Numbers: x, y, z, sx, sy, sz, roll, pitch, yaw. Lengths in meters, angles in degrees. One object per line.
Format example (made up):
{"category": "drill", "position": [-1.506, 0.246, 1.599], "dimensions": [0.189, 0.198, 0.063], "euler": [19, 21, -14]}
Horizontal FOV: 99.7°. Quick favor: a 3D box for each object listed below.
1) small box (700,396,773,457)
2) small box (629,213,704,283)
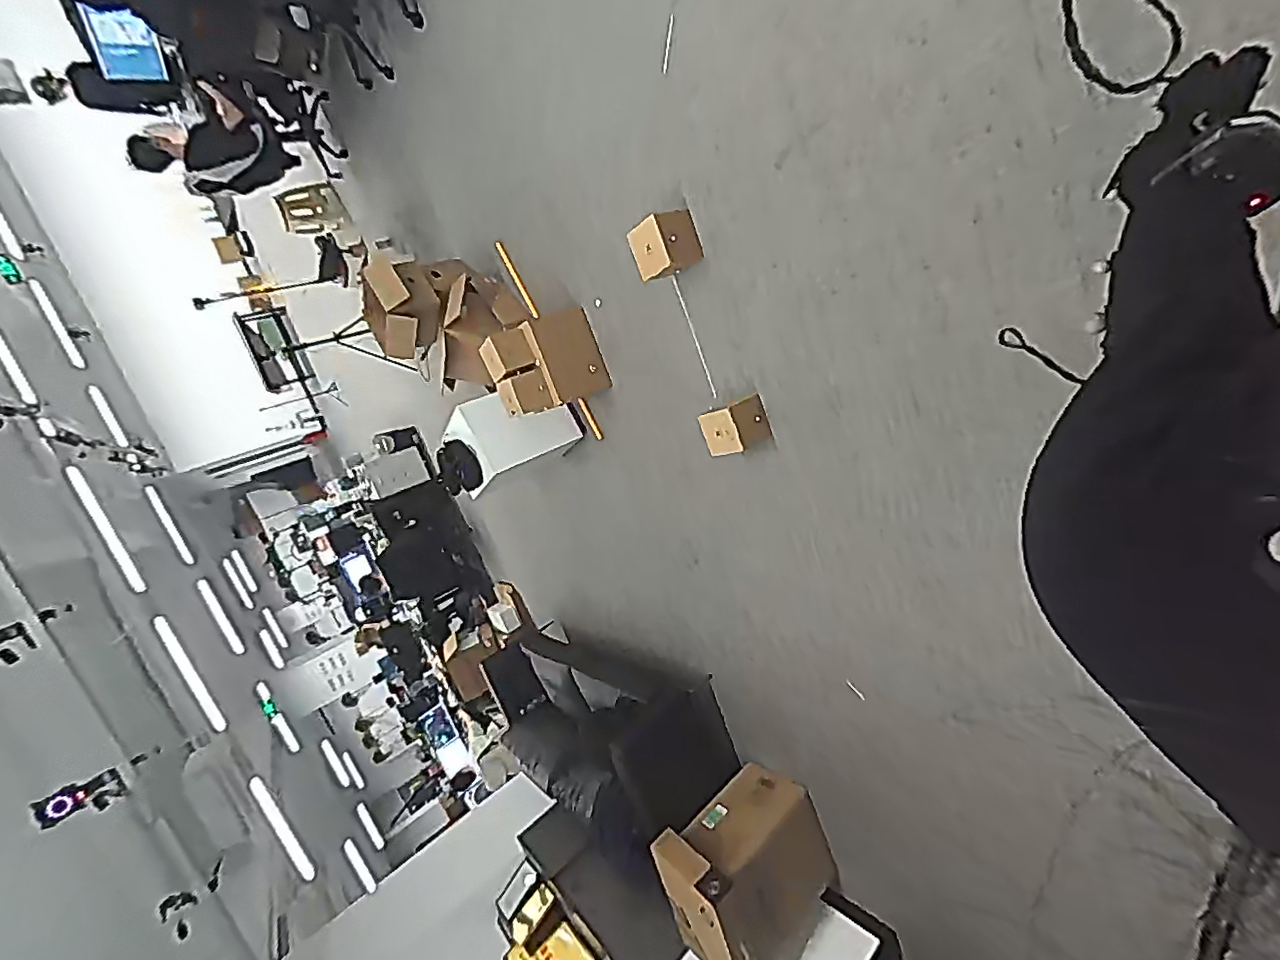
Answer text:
{"category": "small box", "position": [0.361, -0.199, 2.010], "dimensions": [0.179, 0.176, 0.168], "euler": [-8, 108, 56]}
{"category": "small box", "position": [0.096, -0.823, 1.909], "dimensions": [0.168, 0.176, 0.179], "euler": [-8, 108, 56]}
